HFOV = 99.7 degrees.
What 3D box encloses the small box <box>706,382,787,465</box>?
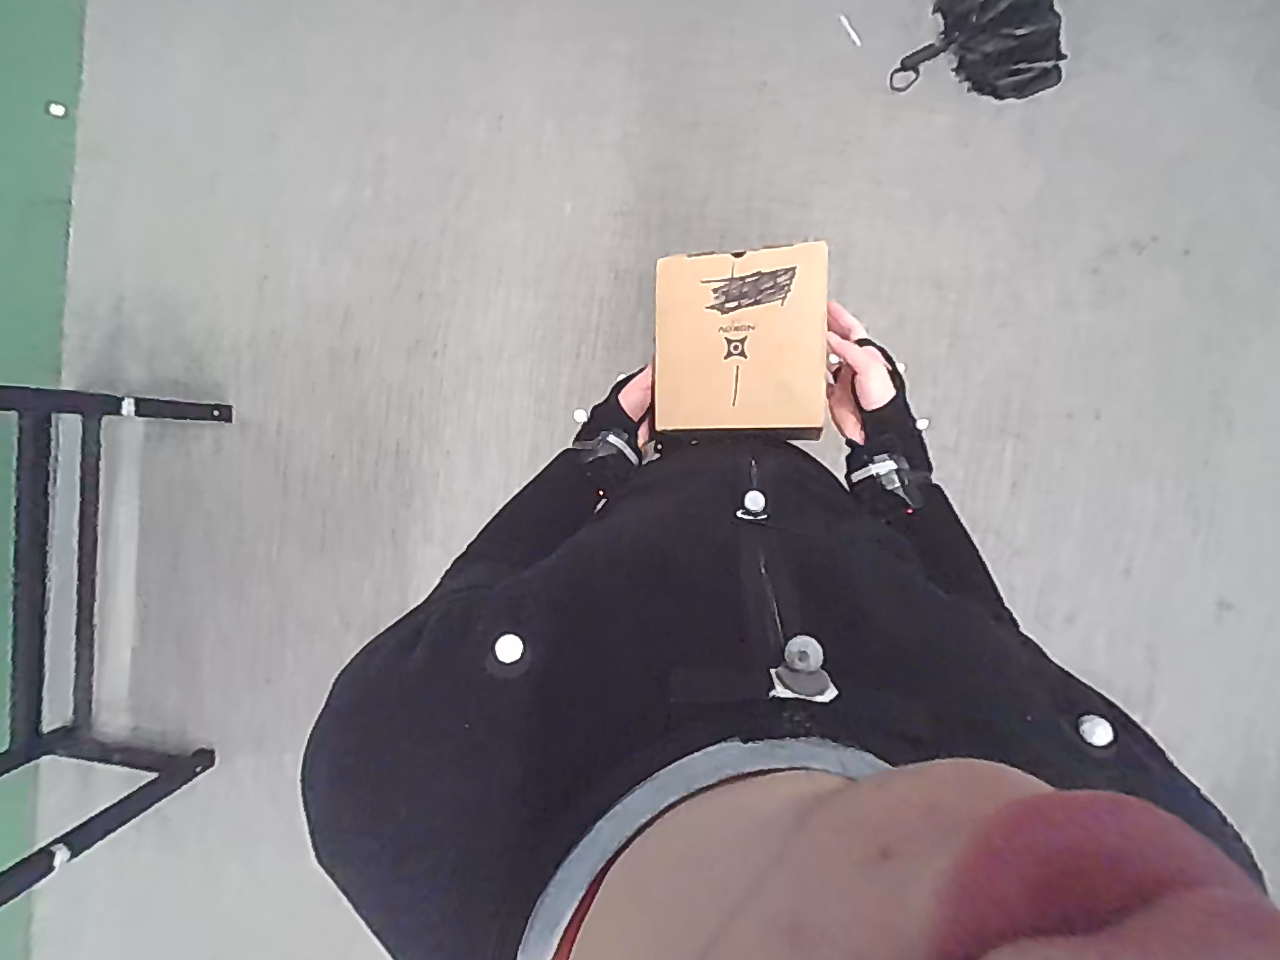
[{"bbox_3d":[0.281,-0.152,1.470,0.168,0.176,0.179,19,96,5],"label":"small box"}]
